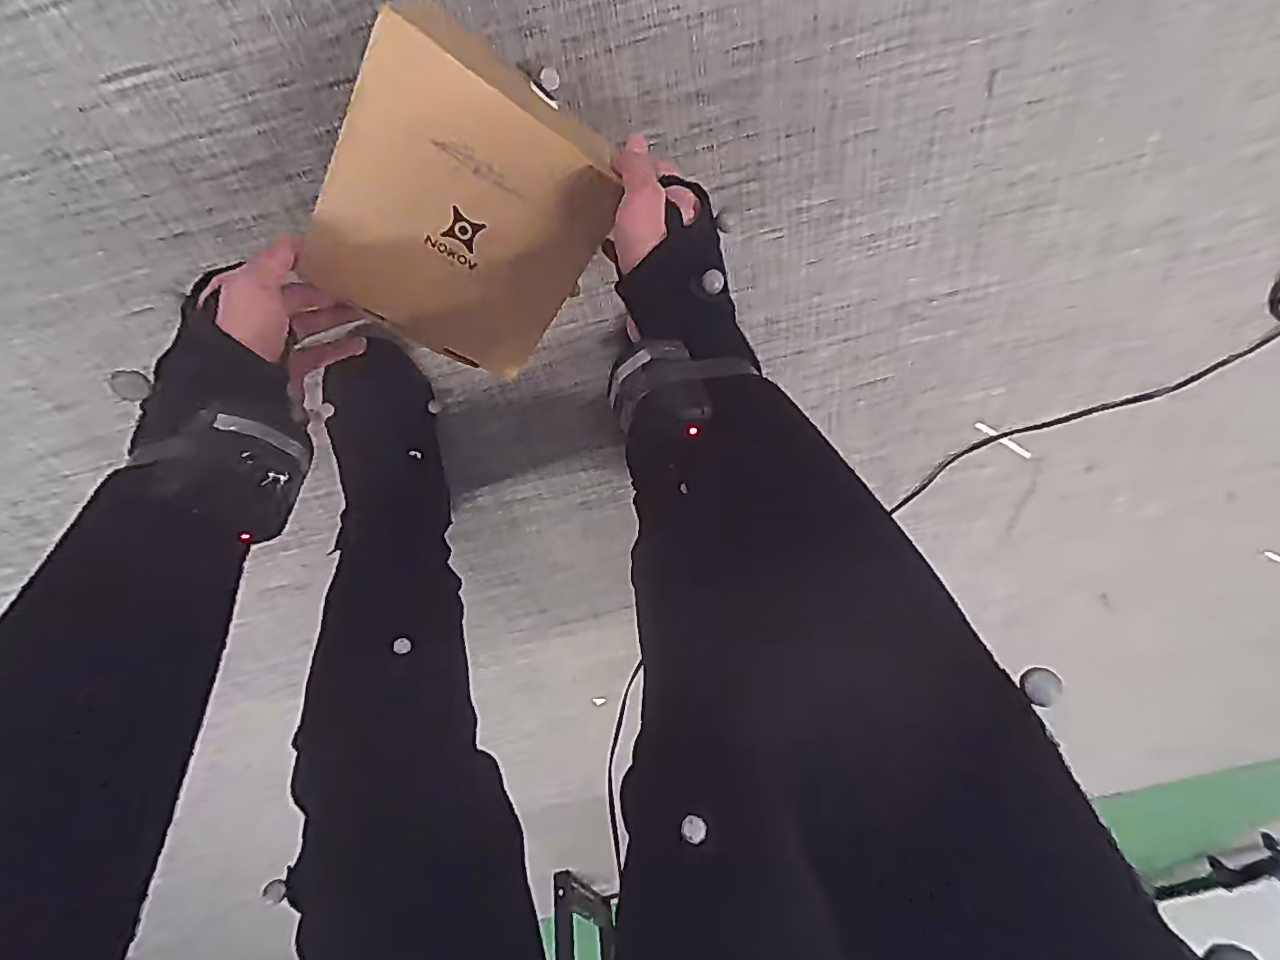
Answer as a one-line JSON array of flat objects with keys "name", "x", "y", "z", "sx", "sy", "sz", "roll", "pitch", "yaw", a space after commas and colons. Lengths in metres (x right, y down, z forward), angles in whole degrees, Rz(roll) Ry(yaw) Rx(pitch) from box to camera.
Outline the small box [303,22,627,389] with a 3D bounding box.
[{"name": "small box", "x": -0.130, "y": -0.212, "z": 0.428, "sx": 0.168, "sy": 0.176, "sz": 0.179, "roll": 24, "pitch": 123, "yaw": -29}]
